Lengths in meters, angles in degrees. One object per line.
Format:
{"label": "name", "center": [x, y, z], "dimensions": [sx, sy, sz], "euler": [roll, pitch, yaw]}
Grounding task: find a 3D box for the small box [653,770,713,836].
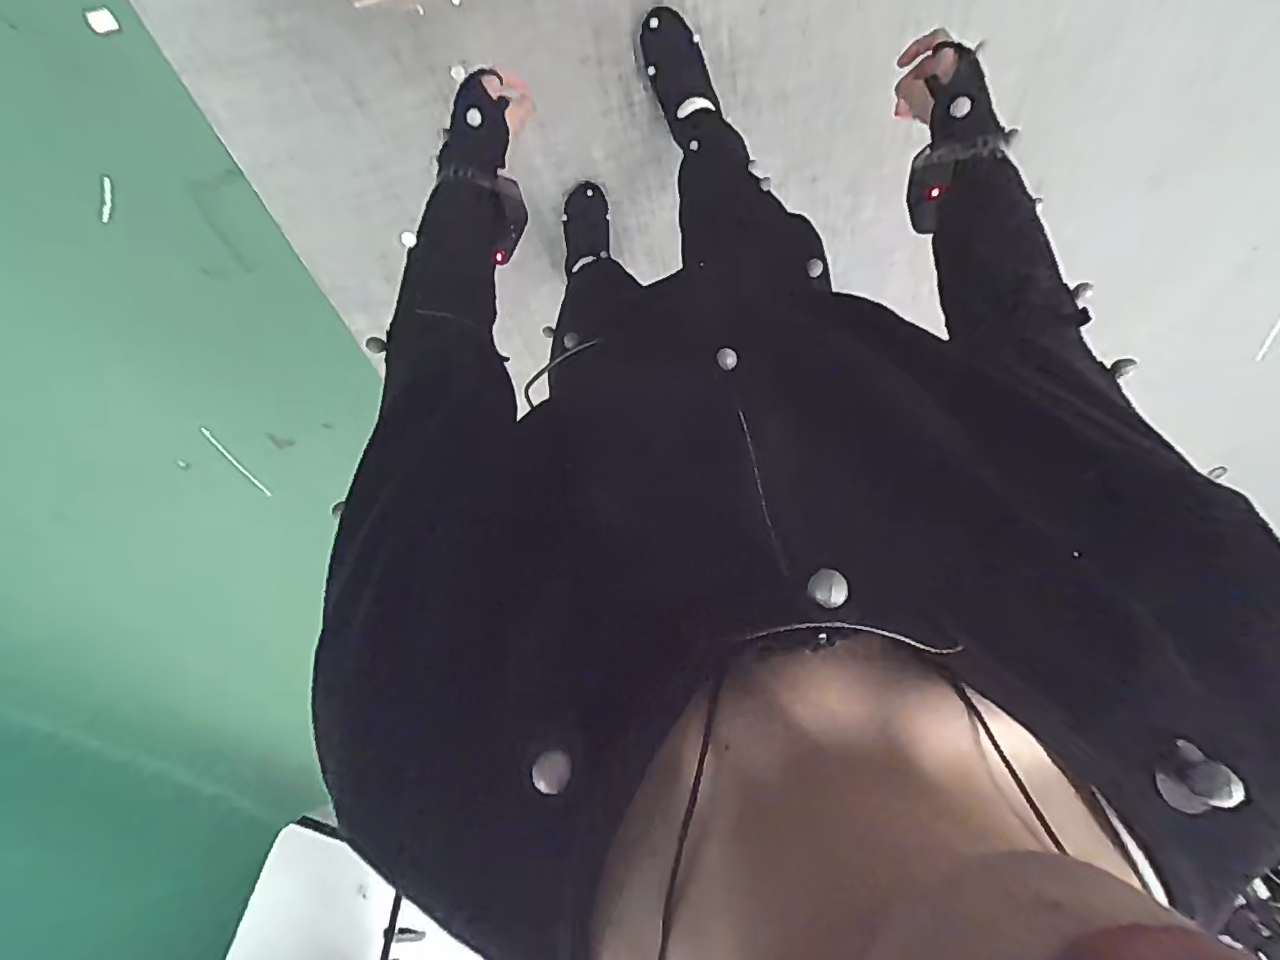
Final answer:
{"label": "small box", "center": [0.148, 1.124, 1.871], "dimensions": [0.168, 0.176, 0.179], "euler": [-15, 134, 12]}
